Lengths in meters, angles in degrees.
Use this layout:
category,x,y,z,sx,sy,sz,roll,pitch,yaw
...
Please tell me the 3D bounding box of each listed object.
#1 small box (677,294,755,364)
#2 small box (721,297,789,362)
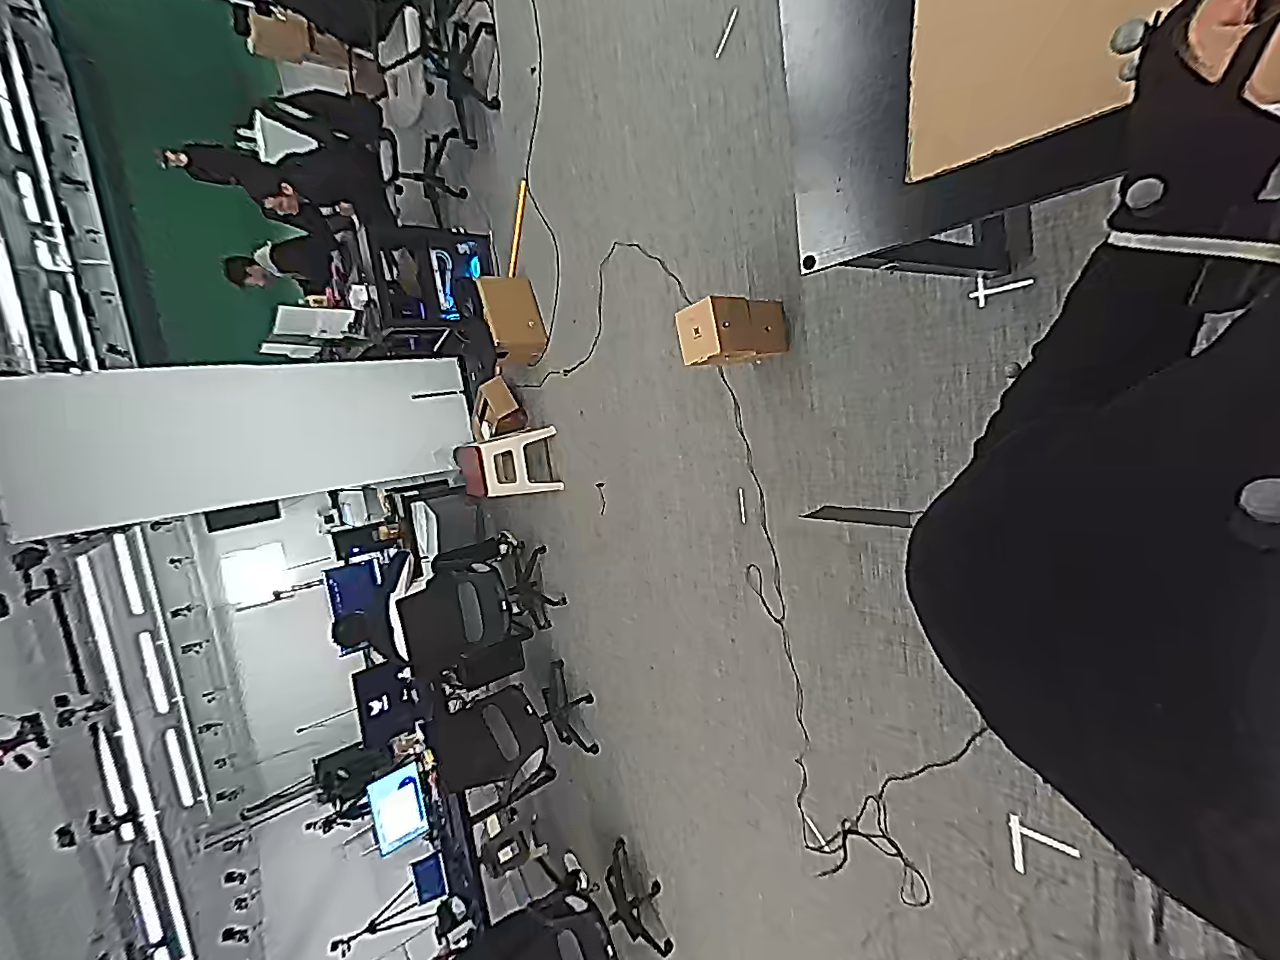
category,x,y,z,sx,sy,sz,roll,pitch,yaw
small box,0.247,-0.478,1.719,0.168,0.176,0.179,-9,92,53
small box,0.377,-0.500,1.814,0.168,0.176,0.179,-3,98,54
